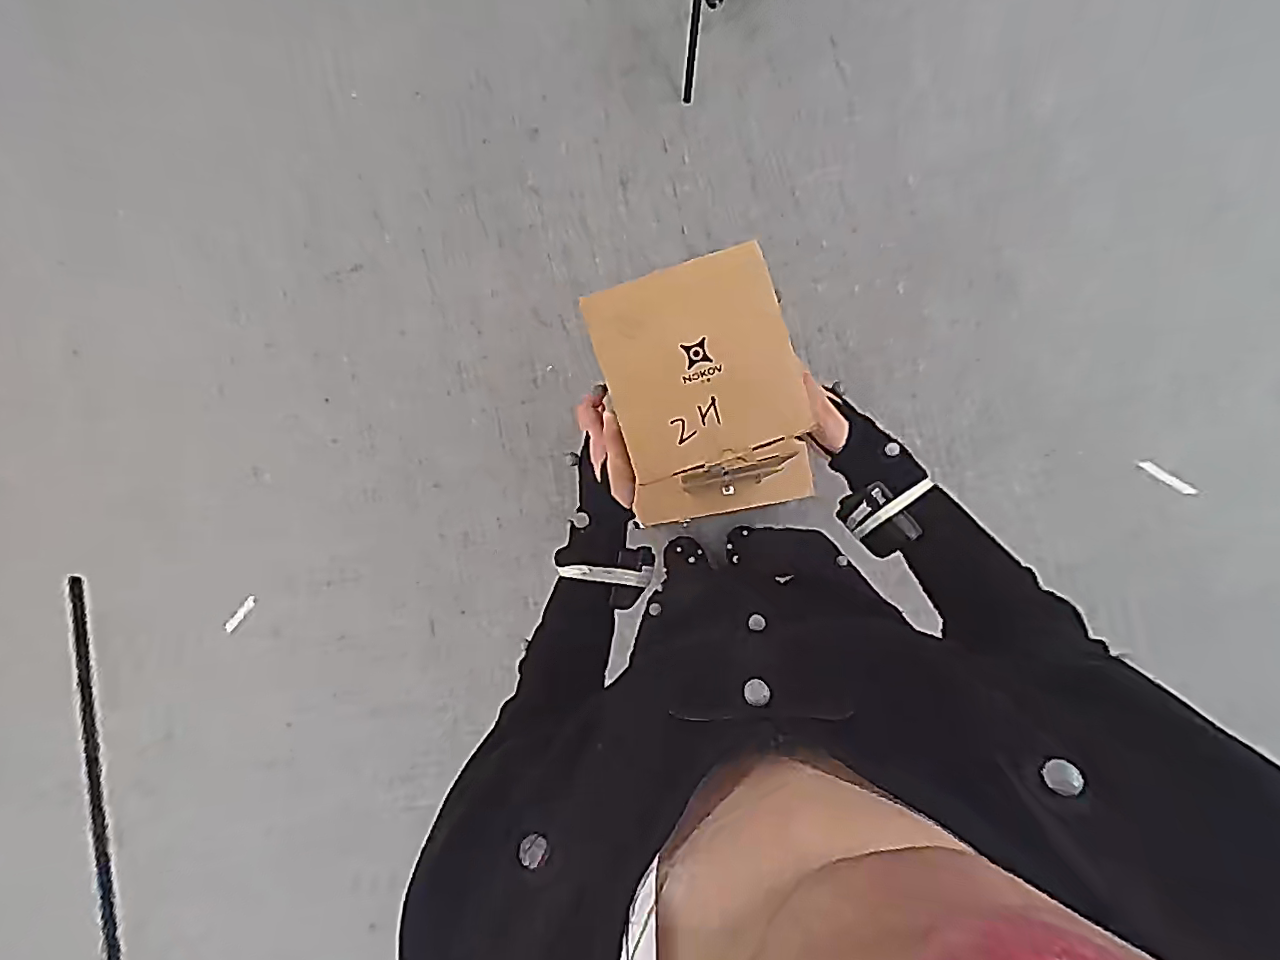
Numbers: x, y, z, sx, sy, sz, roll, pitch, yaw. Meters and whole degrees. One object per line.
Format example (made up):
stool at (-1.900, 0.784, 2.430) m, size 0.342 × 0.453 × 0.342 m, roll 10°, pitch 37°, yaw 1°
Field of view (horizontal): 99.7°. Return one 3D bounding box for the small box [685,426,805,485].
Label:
small box at (0.133, -0.098, 0.817) m, size 0.168 × 0.176 × 0.179 m, roll -15°, pitch 85°, yaw 6°

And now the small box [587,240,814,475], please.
small box at (0.059, -0.110, 0.568) m, size 0.168 × 0.176 × 0.179 m, roll -19°, pitch 89°, yaw 6°

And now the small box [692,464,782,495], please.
small box at (0.185, -0.067, 1.139) m, size 0.179 × 0.176 × 0.168 m, roll -15°, pitch 85°, yaw 5°
